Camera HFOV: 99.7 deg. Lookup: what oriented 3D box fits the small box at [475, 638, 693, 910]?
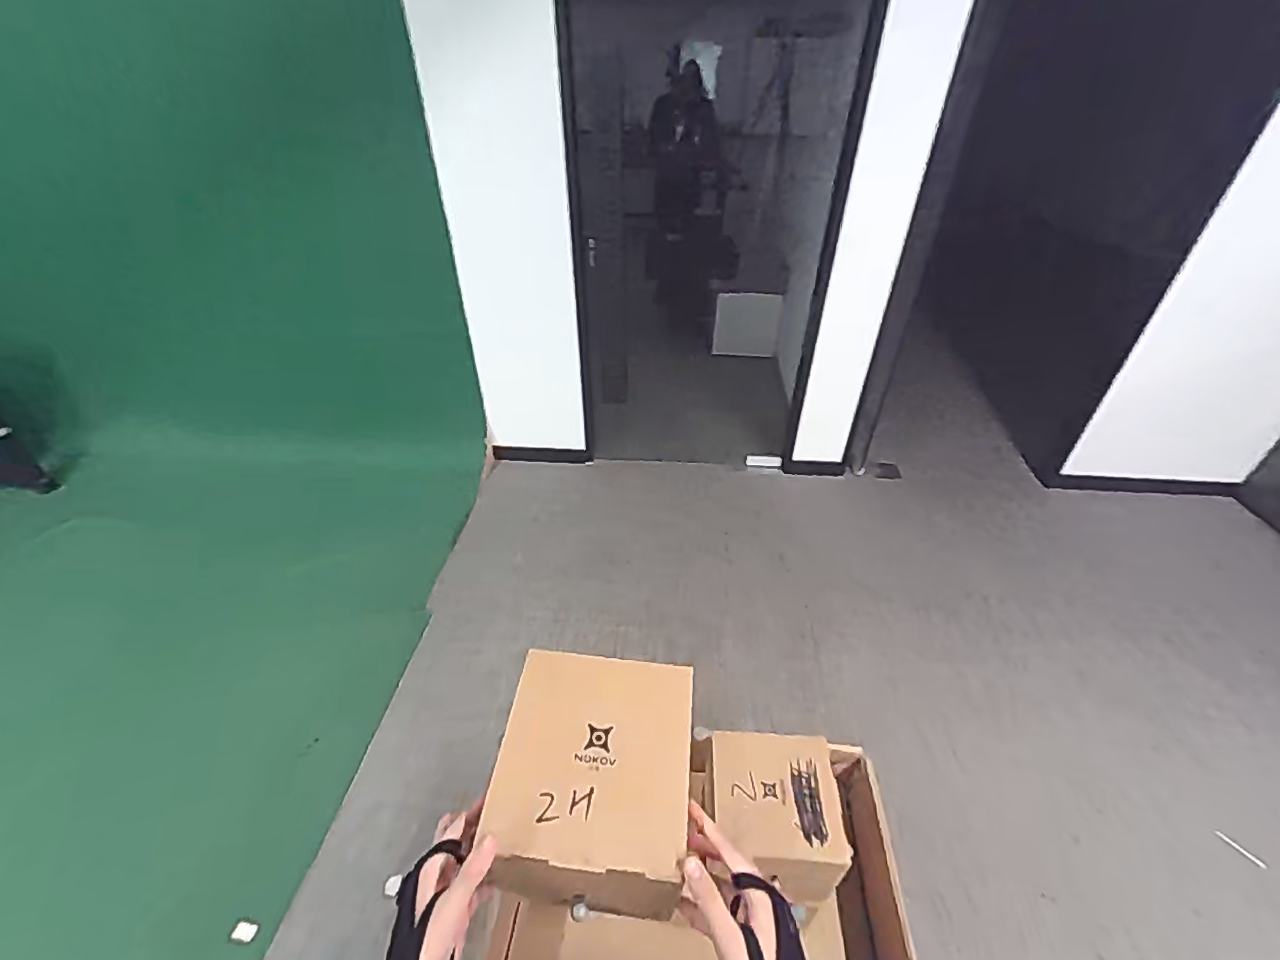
[{"bbox_3d":[-0.042,0.282,0.526,0.168,0.176,0.179,5,42,4],"label":"small box"}]
